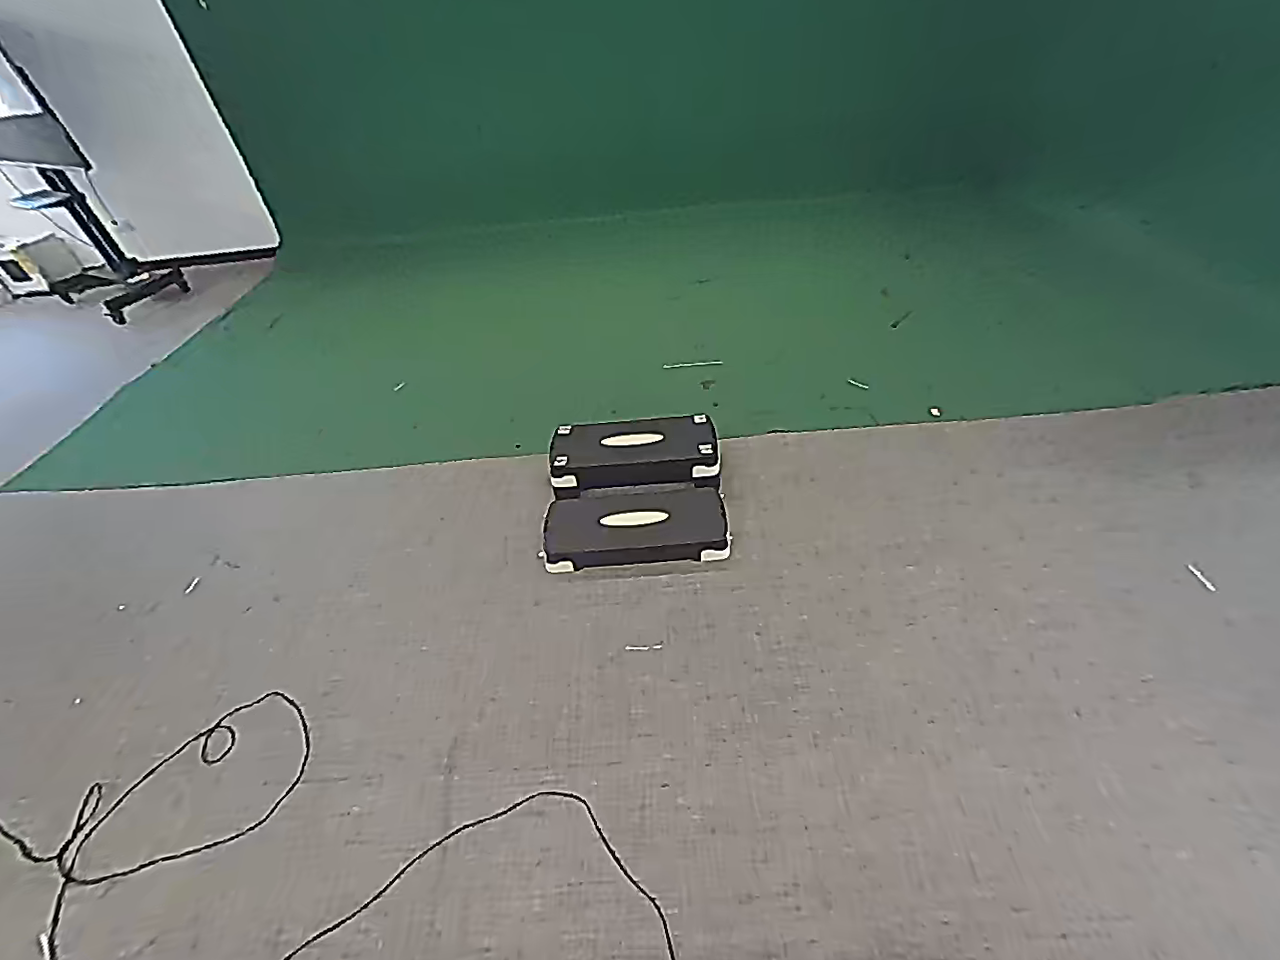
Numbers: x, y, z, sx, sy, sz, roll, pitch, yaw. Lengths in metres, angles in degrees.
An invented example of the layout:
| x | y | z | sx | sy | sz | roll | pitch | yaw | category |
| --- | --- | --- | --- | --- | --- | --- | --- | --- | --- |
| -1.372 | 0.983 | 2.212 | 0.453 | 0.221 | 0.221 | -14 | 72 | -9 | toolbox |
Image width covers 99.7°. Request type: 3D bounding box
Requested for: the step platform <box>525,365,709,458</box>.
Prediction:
| x | y | z | sx | sy | sz | roll | pitch | yaw | category |
| --- | --- | --- | --- | --- | --- | --- | --- | --- | --- |
| -0.080 | -0.264 | 2.081 | 0.684 | 0.204 | 0.286 | -5 | 43 | 3 | step platform |
